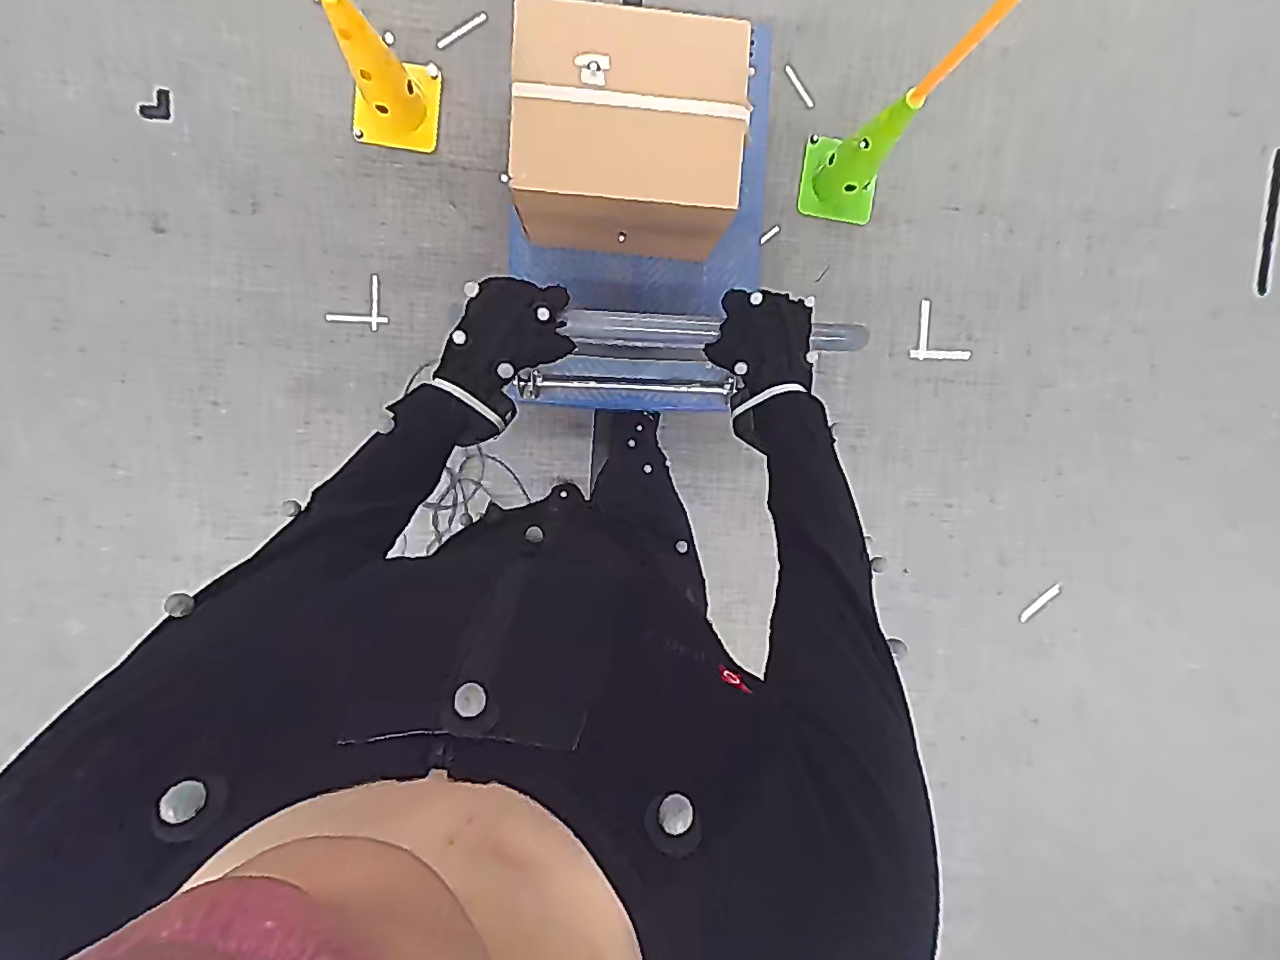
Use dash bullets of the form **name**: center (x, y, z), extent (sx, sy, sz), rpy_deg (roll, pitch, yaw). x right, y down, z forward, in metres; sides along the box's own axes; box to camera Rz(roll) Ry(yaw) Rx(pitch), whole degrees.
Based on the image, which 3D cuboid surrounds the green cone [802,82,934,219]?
- **green cone**: center (0.545, -0.783, 1.248), extent (0.202, 0.368, 0.200), rpy_deg (7, 95, -6)

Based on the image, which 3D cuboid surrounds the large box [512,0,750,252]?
- **large box**: center (-0.022, -0.666, 1.075), extent (0.408, 0.320, 0.320), rpy_deg (3, 95, -3)
